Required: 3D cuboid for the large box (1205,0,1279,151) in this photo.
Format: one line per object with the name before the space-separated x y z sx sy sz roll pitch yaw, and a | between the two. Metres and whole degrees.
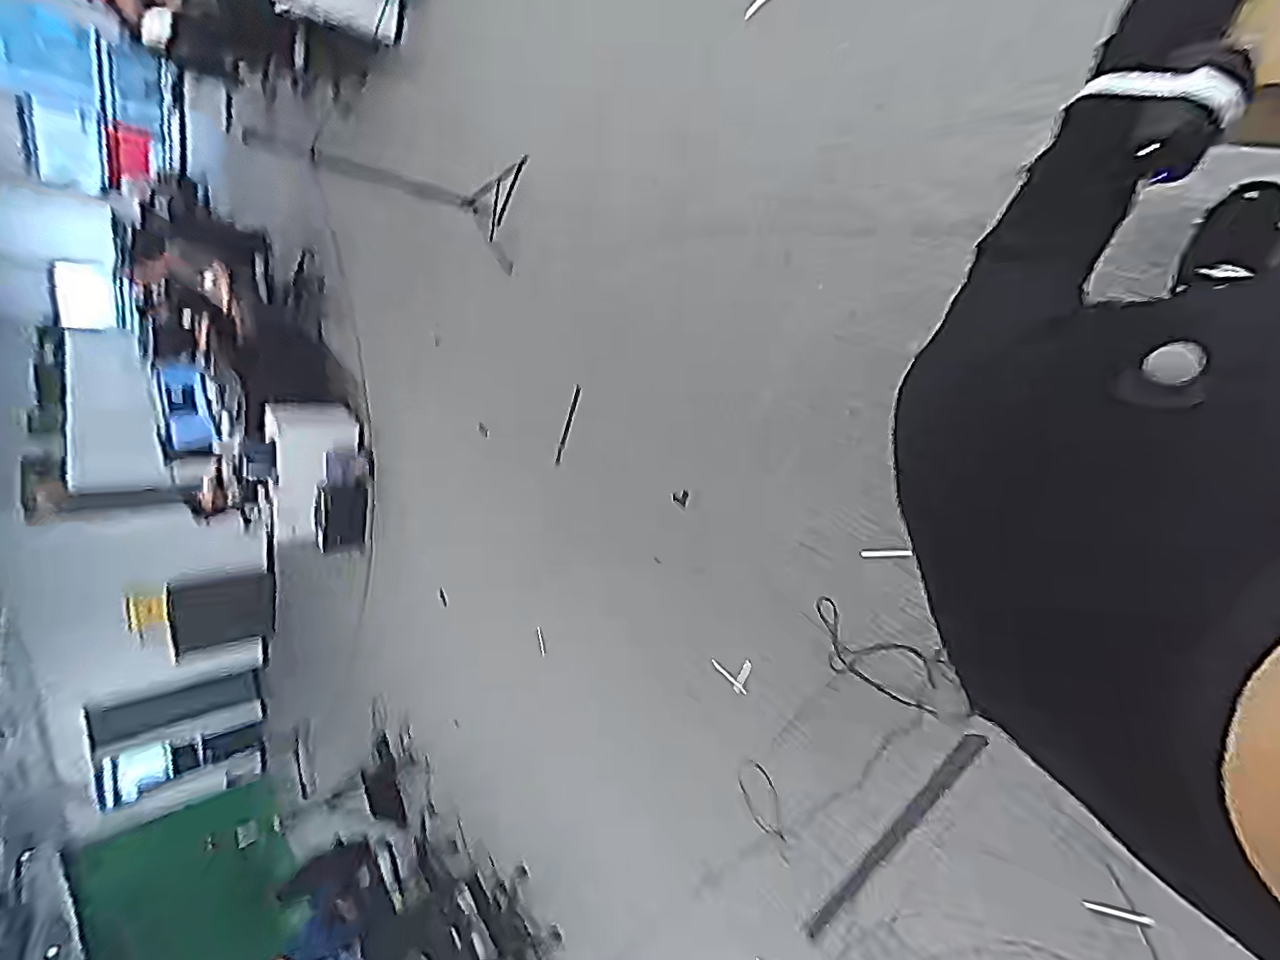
large box | 0.664 -0.373 0.302 0.408 0.320 0.320 31 127 34
